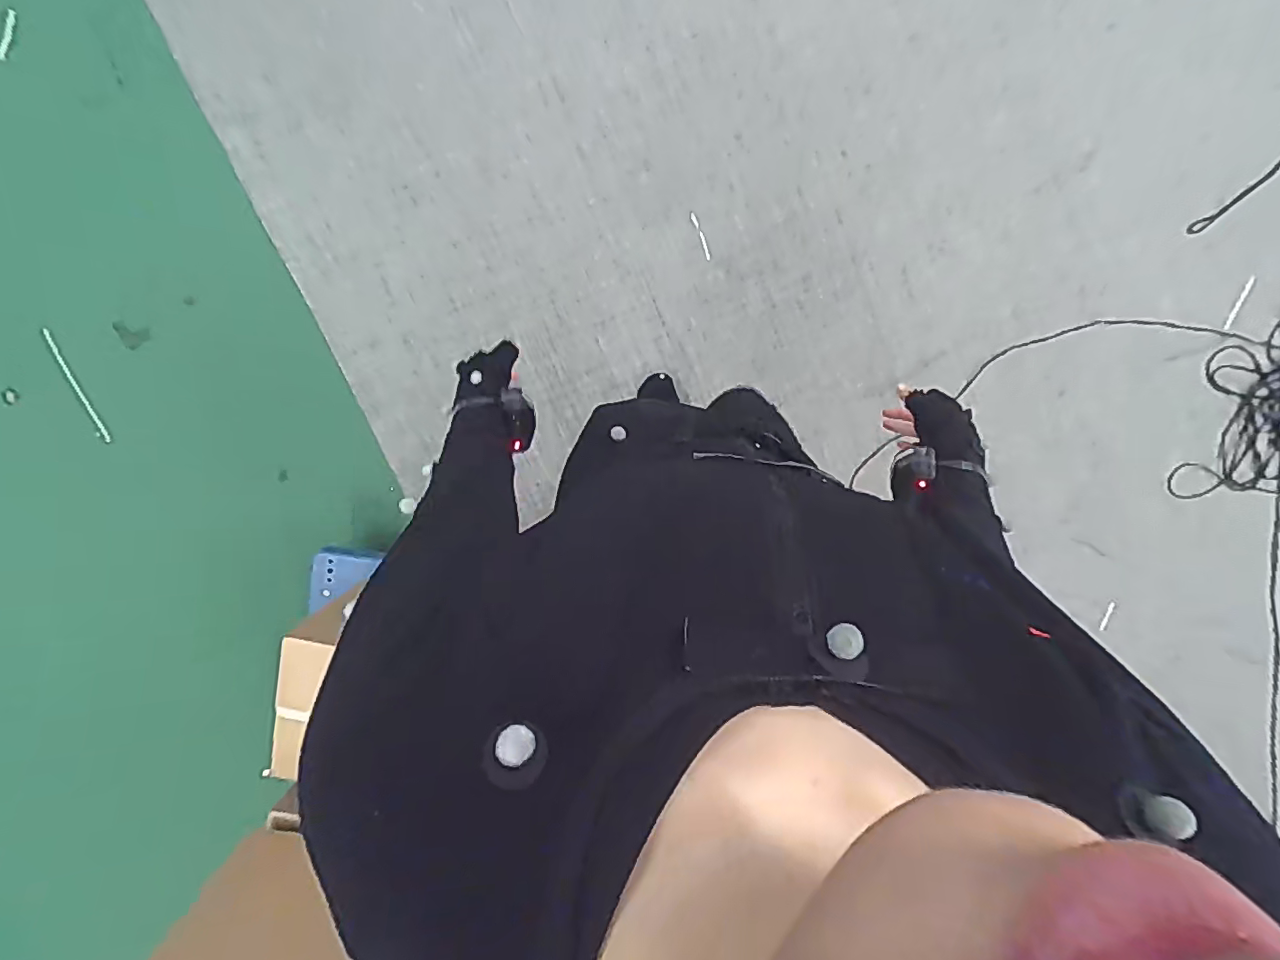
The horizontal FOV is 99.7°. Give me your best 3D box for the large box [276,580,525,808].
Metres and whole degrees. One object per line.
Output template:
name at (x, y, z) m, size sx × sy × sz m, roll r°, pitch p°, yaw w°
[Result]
large box at (-0.504, 0.453, 1.204) m, size 0.408 × 0.320 × 0.320 m, roll 12°, pitch 101°, yaw -2°
